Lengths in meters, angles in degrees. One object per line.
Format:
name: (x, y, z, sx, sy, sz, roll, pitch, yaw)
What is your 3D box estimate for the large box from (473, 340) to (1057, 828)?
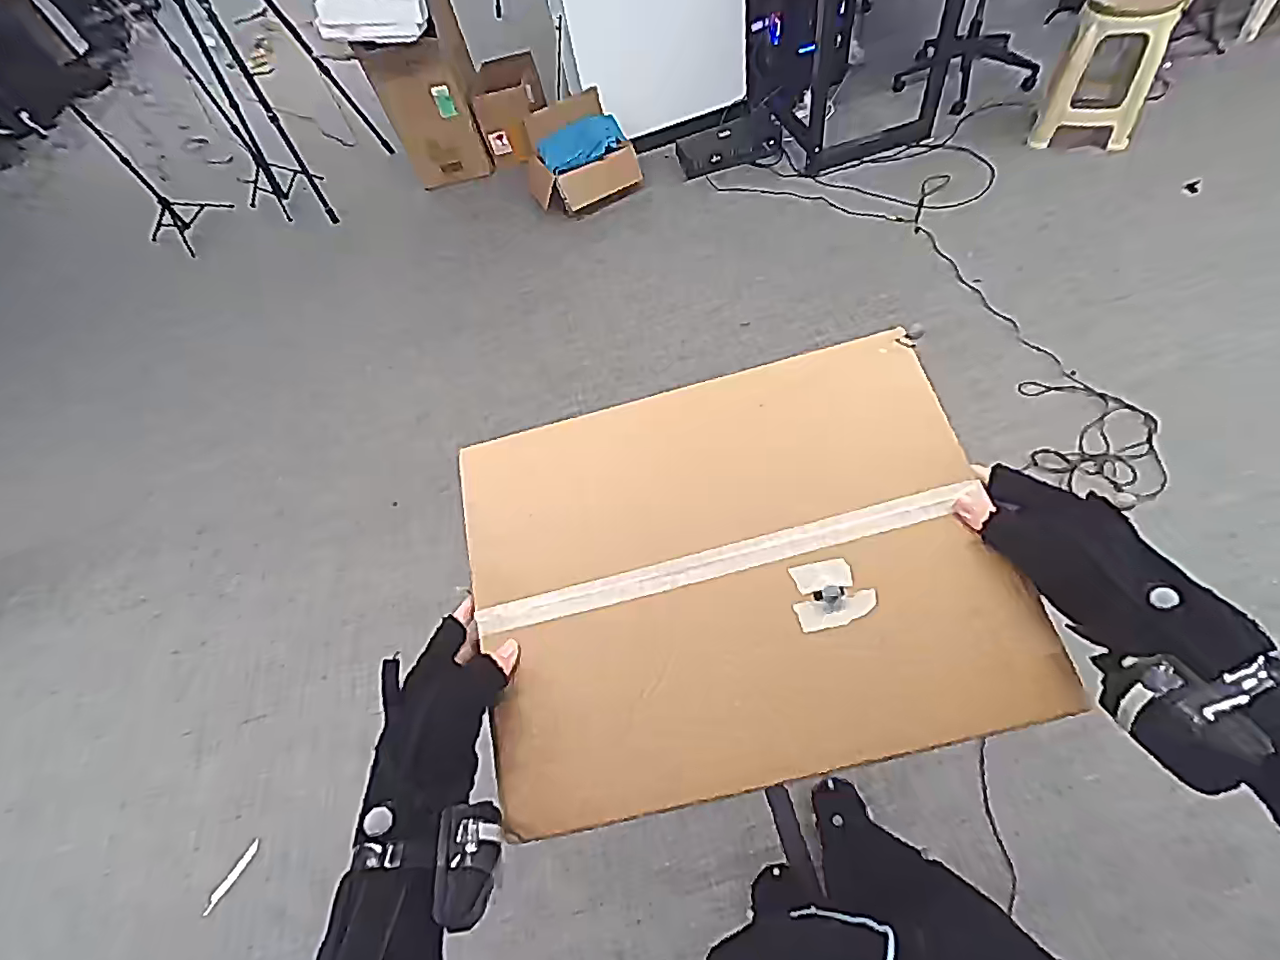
large box: (0.088, 0.115, 0.578, 0.408, 0.320, 0.320, -16, 69, 3)
